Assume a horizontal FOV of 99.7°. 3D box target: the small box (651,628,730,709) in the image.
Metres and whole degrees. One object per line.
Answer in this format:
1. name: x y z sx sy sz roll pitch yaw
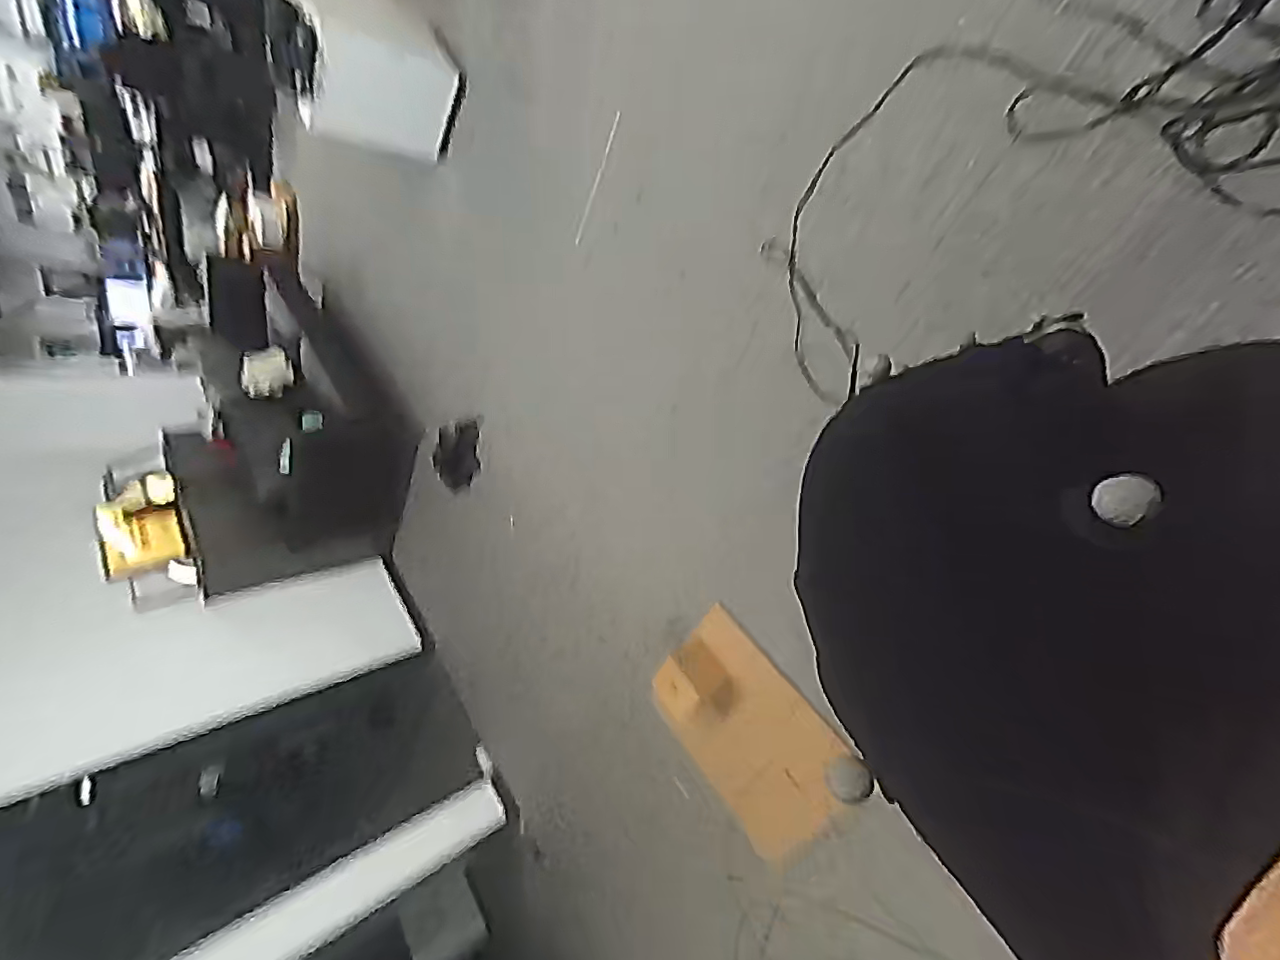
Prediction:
1. small box: 0.177 0.640 1.853 0.179 0.176 0.168 49 130 28
